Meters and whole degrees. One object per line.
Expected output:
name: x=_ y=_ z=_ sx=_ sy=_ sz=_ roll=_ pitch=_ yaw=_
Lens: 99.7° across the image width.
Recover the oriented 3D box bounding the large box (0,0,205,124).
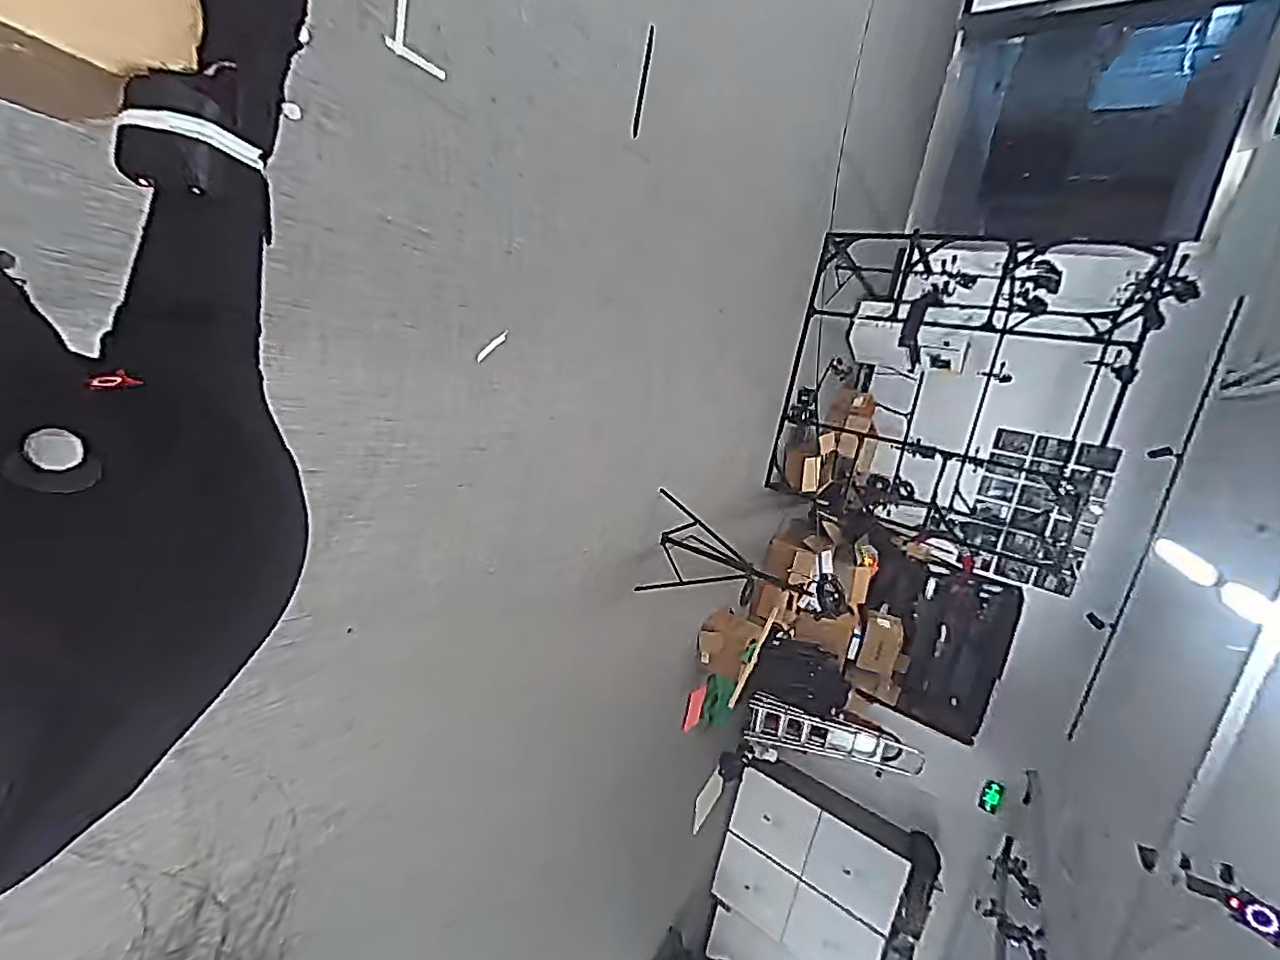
large box: x=-0.518 y=-0.449 z=0.275 sx=0.408 sy=0.320 sz=0.320 roll=-2 pitch=110 yaw=-59
